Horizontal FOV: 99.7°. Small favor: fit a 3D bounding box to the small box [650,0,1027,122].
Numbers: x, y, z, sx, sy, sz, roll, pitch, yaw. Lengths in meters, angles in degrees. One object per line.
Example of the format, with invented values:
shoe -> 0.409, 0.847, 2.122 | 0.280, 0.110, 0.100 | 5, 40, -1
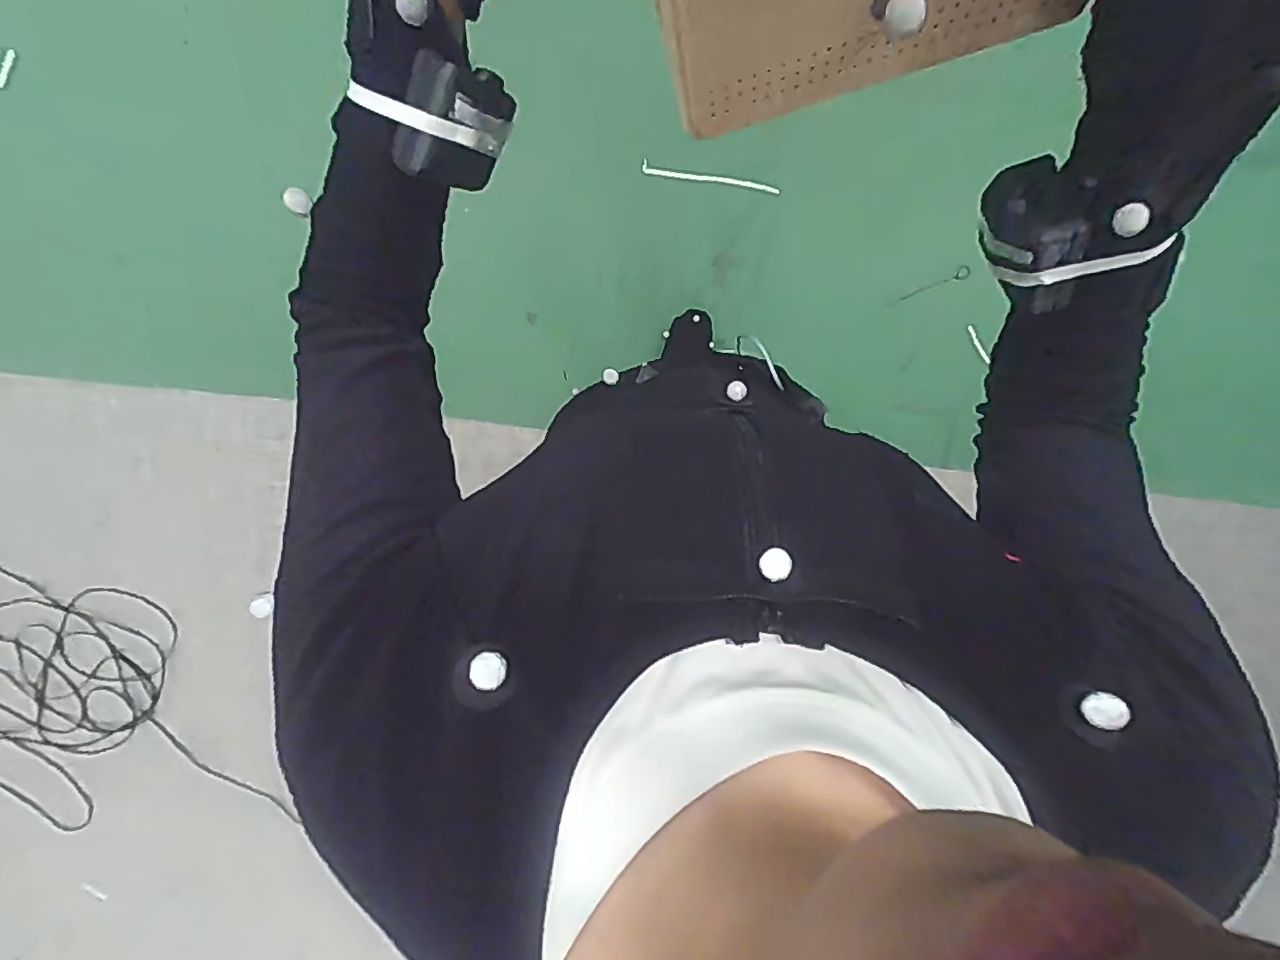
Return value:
small box -> 0.077, -0.282, 0.197 | 0.179, 0.176, 0.168 | -12, 76, 8
